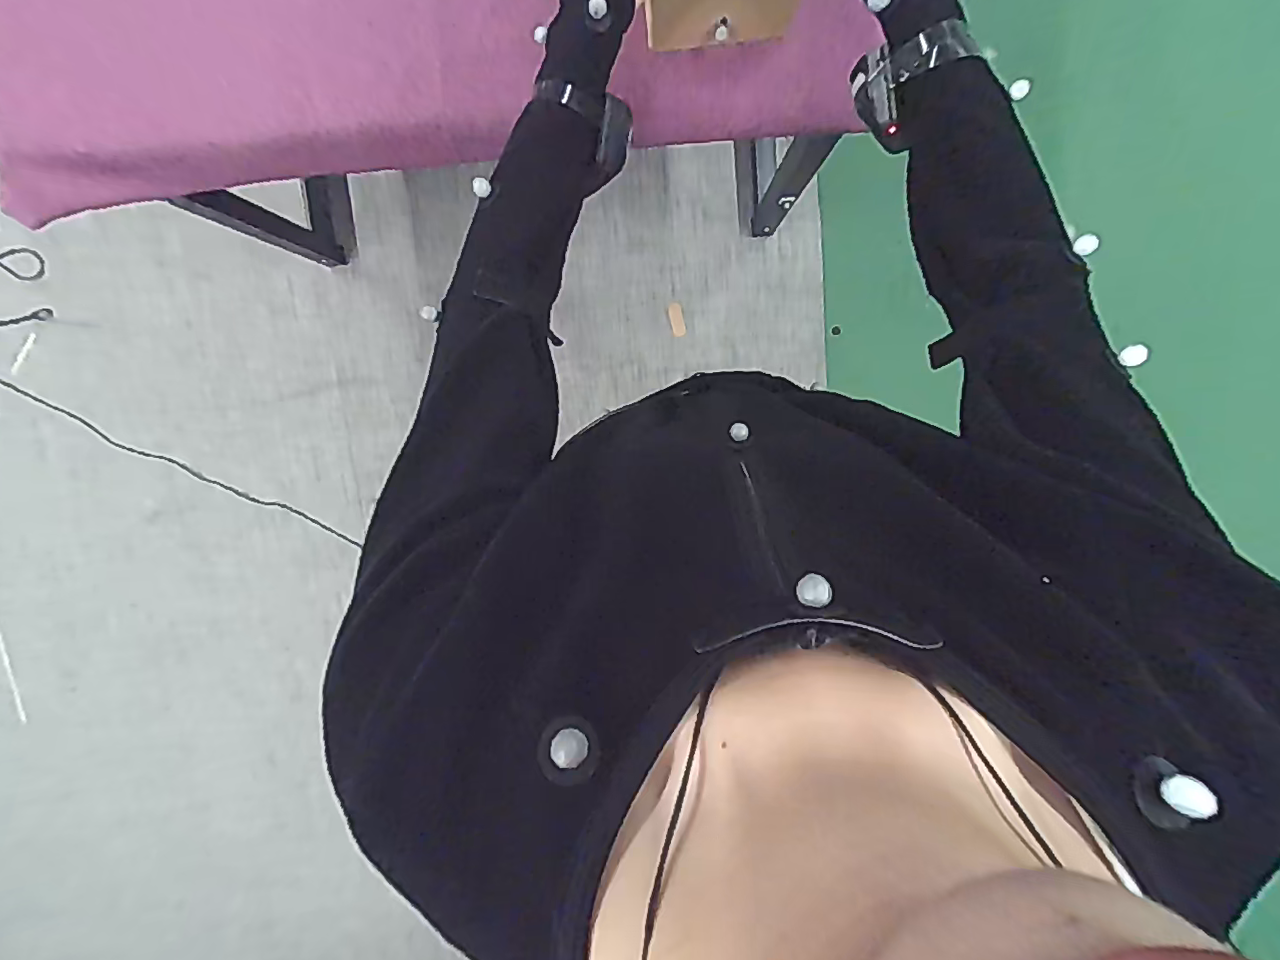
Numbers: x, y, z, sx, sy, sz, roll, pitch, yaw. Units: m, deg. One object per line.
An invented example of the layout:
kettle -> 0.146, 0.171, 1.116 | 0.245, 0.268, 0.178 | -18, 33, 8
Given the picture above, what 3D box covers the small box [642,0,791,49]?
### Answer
small box -> 0.086, -0.618, 0.591 | 0.179, 0.176, 0.168 | -4, 98, 3
